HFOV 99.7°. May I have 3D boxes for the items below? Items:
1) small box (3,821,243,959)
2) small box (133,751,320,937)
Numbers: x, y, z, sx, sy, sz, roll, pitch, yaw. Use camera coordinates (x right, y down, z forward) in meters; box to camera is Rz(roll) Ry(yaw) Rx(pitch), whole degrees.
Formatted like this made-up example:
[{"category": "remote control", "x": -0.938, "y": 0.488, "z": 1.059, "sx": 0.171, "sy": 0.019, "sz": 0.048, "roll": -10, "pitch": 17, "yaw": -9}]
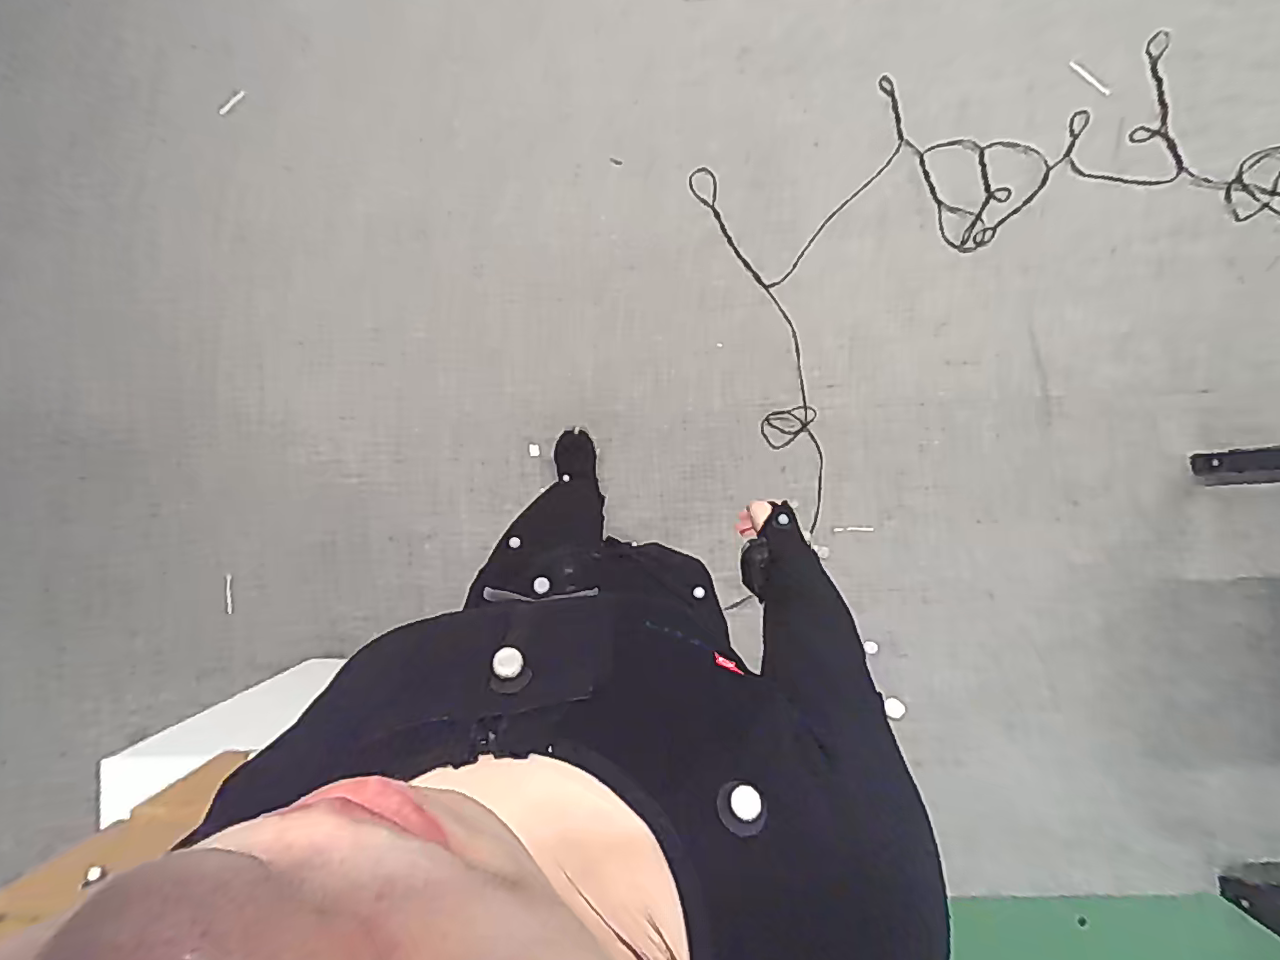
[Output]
[{"category": "small box", "x": -0.625, "y": 0.549, "z": 0.662, "sx": 0.179, "sy": 0.176, "sz": 0.168, "roll": -3, "pitch": 89, "yaw": 1}, {"category": "small box", "x": -0.619, "y": 0.544, "z": 0.827, "sx": 0.168, "sy": 0.176, "sz": 0.179, "roll": -1, "pitch": 89, "yaw": 1}]
